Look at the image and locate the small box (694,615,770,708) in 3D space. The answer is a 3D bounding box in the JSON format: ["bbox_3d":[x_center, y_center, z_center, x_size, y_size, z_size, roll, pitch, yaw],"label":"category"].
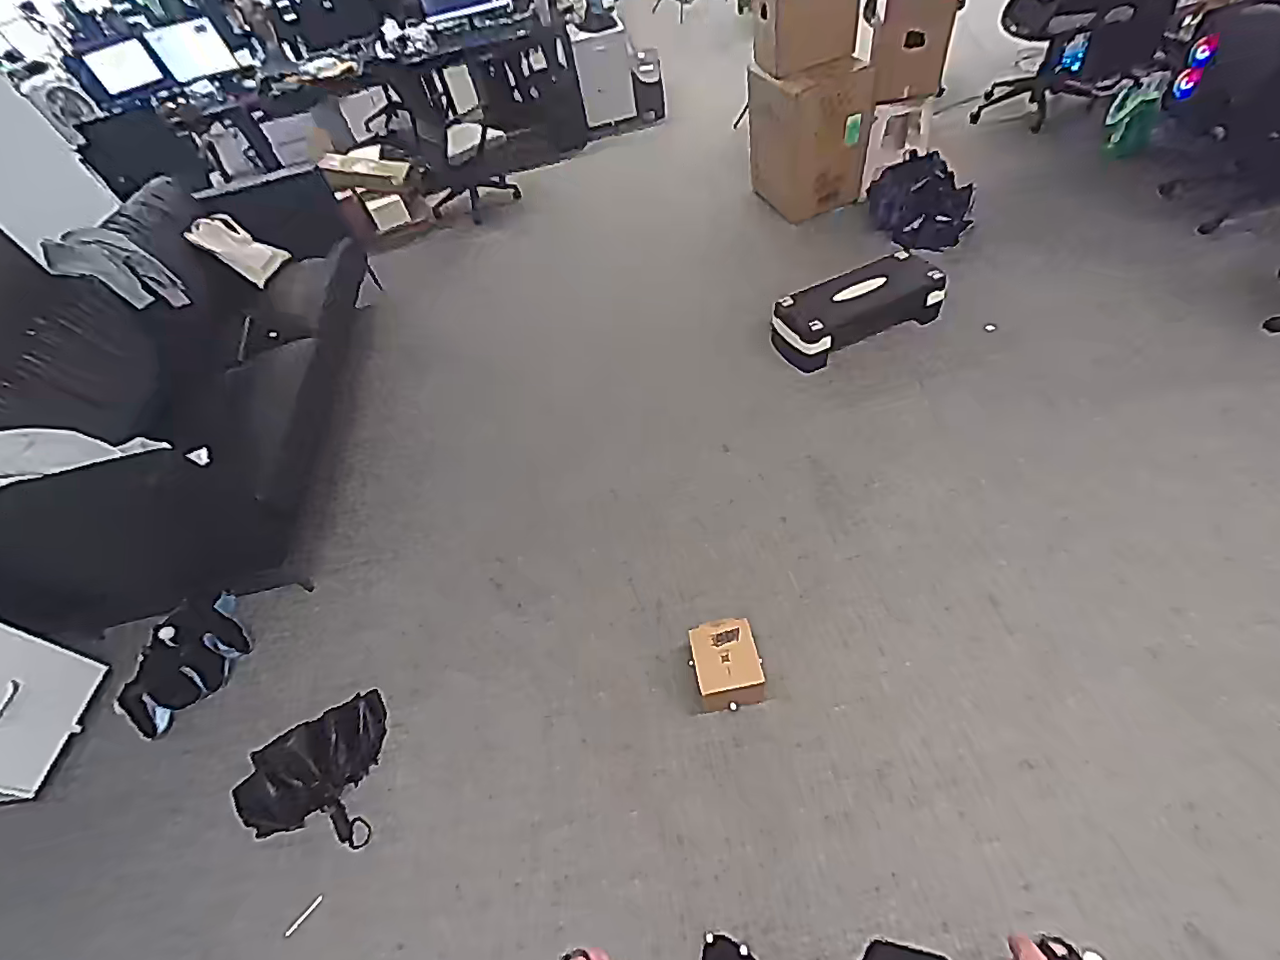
[{"bbox_3d":[0.247,0.492,1.461,0.168,0.176,0.179,-13,50,4],"label":"small box"}]
